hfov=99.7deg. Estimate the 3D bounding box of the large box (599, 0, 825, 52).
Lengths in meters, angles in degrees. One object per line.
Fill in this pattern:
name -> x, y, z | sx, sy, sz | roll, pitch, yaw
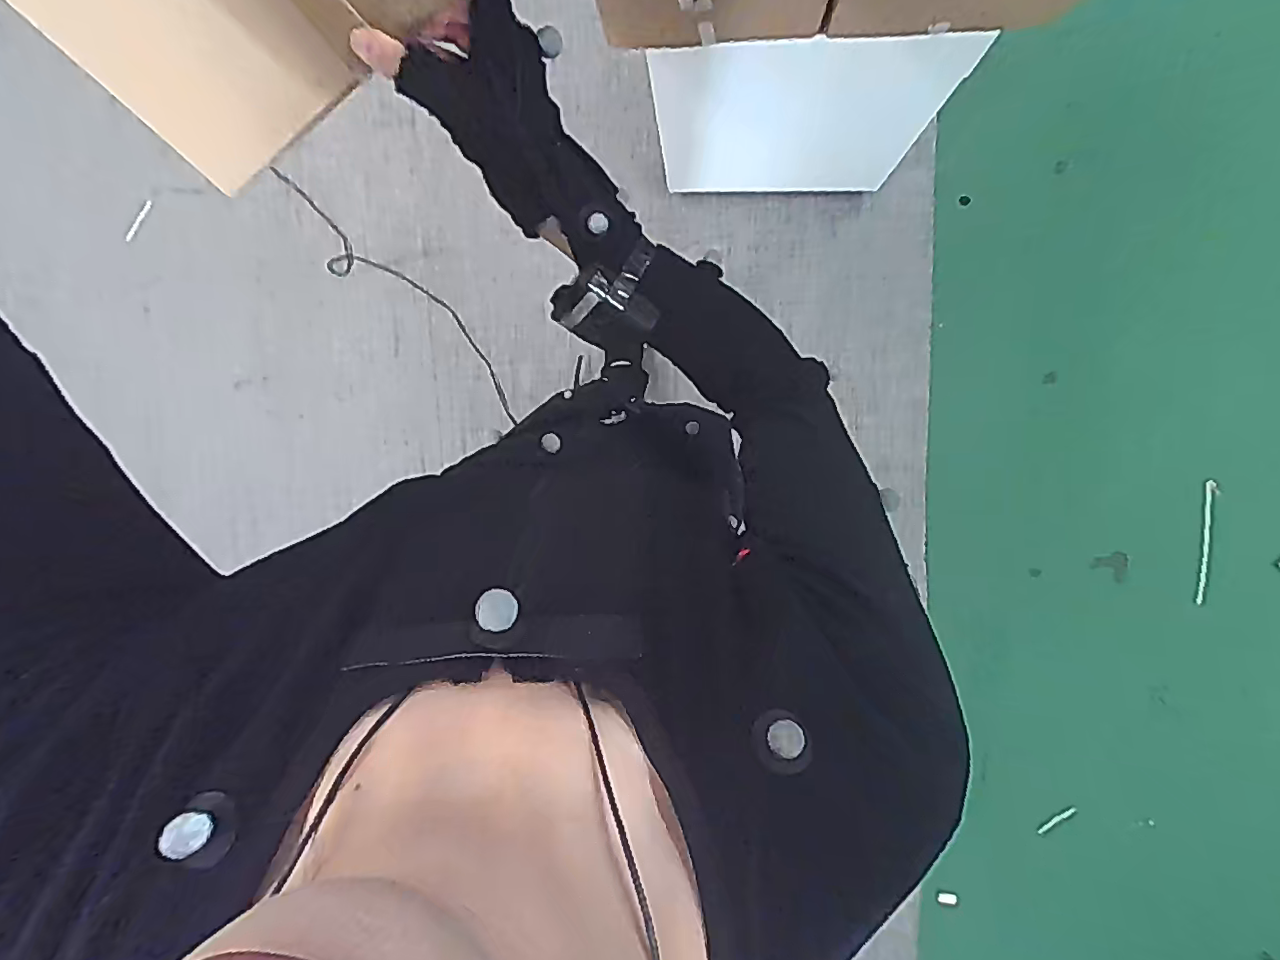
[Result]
large box -> 0.085, -0.823, 0.632 | 0.320, 0.320, 0.408 | 2, 96, 7
